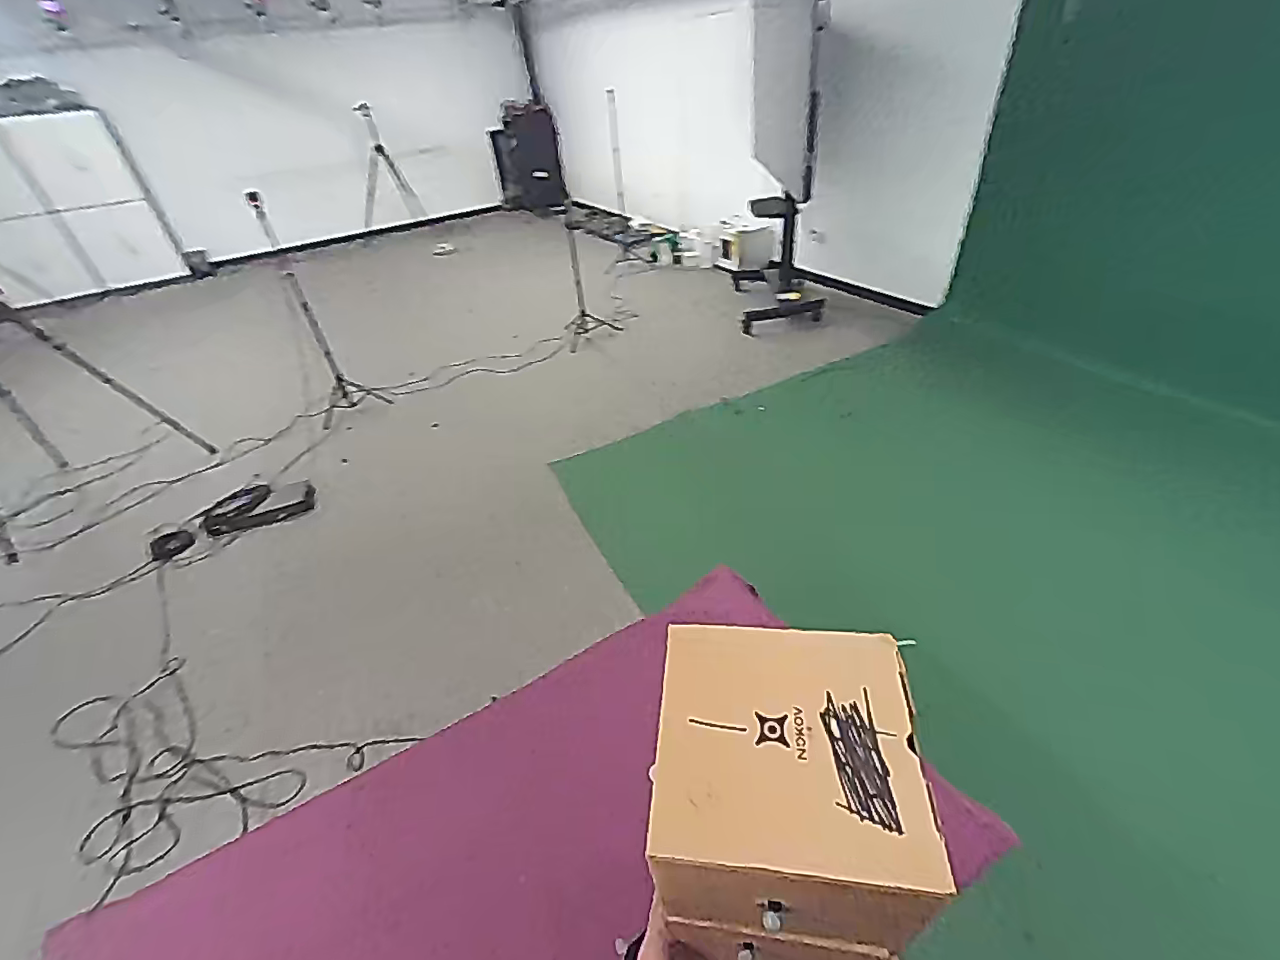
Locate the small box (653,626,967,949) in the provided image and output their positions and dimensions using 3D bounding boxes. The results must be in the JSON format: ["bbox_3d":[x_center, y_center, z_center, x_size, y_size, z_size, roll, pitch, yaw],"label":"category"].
[{"bbox_3d":[0.112,0.234,0.417,0.179,0.176,0.168,1,42,10],"label":"small box"}]

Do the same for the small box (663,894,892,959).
[{"bbox_3d":[0.125,0.358,0.525,0.179,0.176,0.168,2,43,11],"label":"small box"}]
